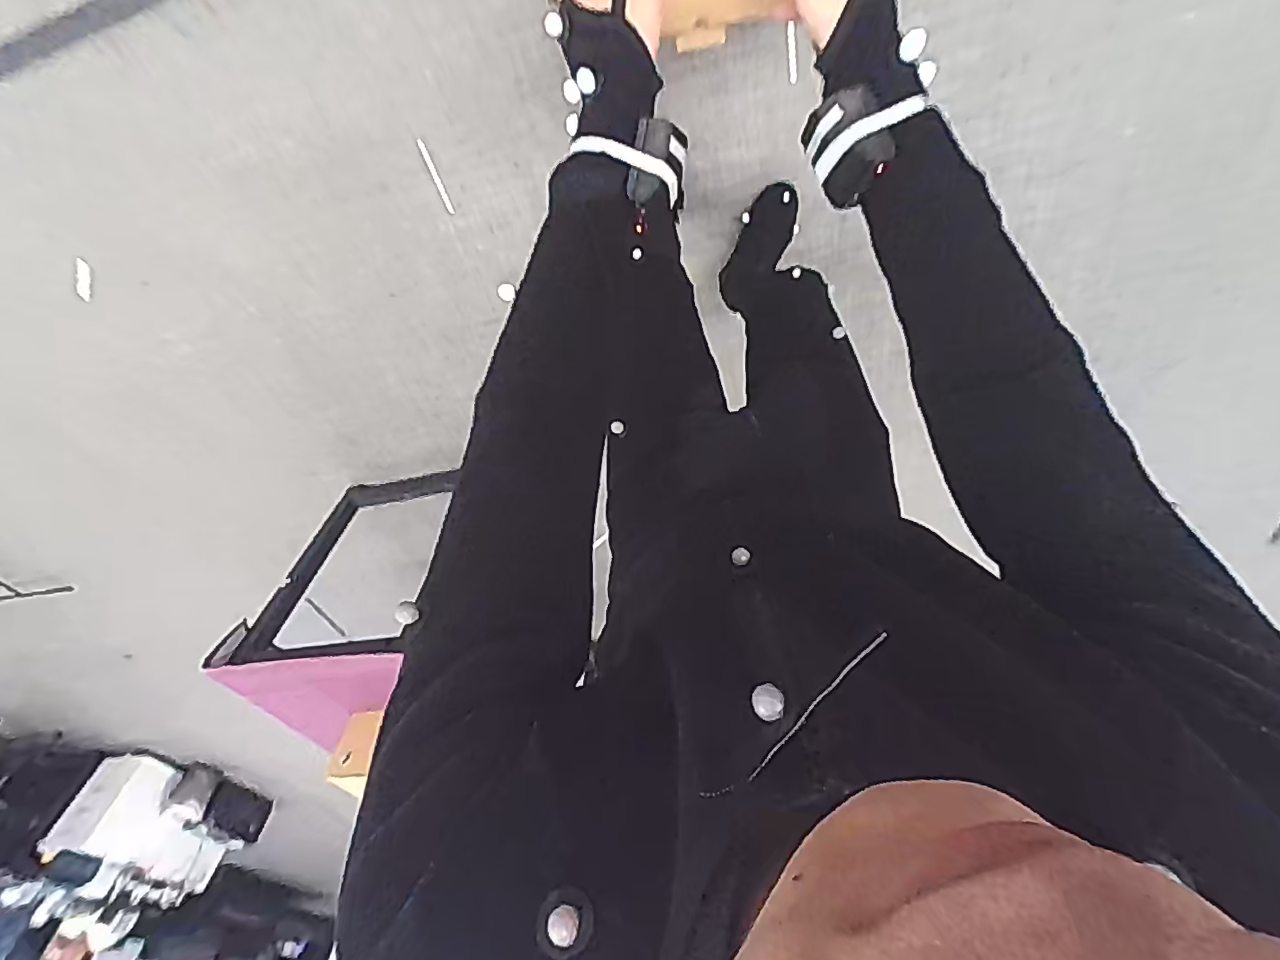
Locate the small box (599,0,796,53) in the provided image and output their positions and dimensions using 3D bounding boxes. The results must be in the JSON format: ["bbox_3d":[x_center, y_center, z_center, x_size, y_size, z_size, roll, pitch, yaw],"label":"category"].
[{"bbox_3d":[0.042,-0.494,0.442,0.168,0.176,0.179,-5,145,6],"label":"small box"}]

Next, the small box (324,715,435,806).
[{"bbox_3d":[-0.680,0.743,1.435,0.179,0.176,0.168,-11,130,14],"label":"small box"}]
